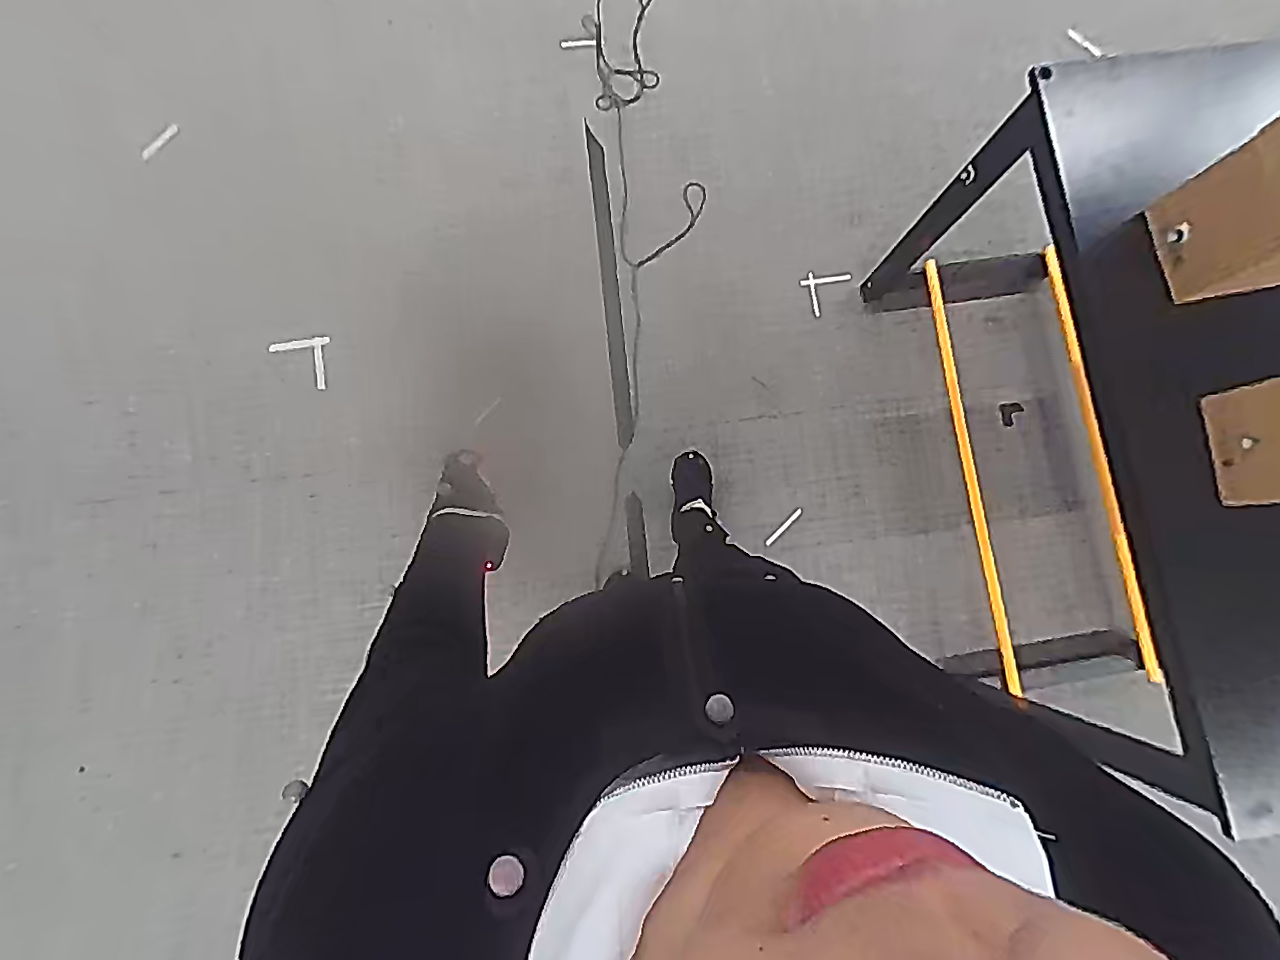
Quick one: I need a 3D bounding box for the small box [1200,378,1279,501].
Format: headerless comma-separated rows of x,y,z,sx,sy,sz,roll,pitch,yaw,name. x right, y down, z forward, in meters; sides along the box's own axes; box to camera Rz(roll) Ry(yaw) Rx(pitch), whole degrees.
0.949,-0.063,0.744,0.179,0.176,0.168,-4,82,-2,small box

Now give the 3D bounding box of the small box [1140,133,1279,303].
0.903,-0.381,0.786,0.179,0.176,0.168,-12,82,-2,small box
